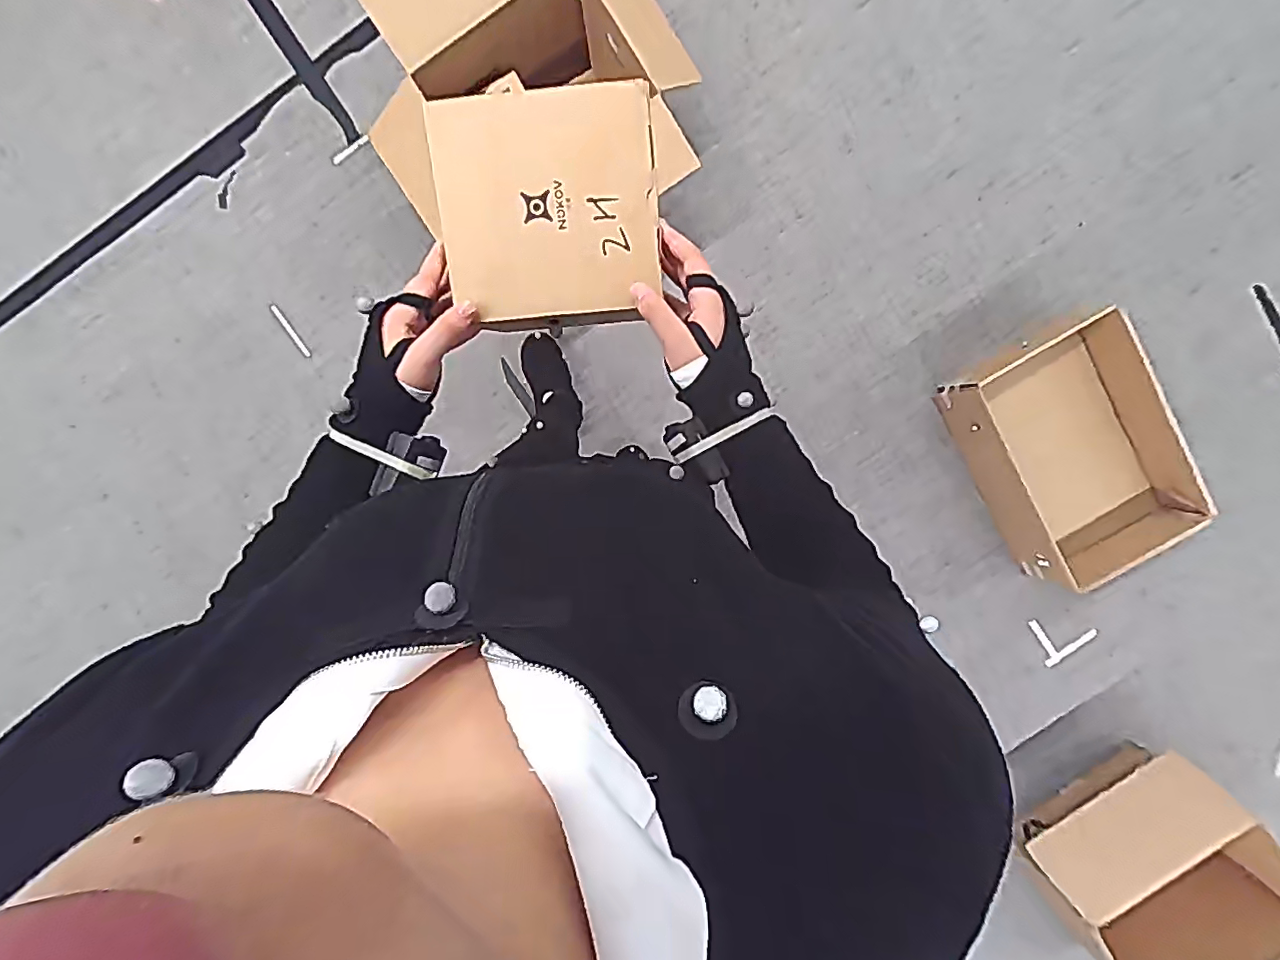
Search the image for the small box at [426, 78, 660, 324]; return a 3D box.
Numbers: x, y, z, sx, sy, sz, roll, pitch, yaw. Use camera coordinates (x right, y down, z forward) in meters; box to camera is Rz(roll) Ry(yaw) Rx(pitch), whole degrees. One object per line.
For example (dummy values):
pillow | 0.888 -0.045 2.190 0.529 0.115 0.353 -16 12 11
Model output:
small box | -0.075 -0.242 0.512 0.179 0.176 0.168 -5 104 0
